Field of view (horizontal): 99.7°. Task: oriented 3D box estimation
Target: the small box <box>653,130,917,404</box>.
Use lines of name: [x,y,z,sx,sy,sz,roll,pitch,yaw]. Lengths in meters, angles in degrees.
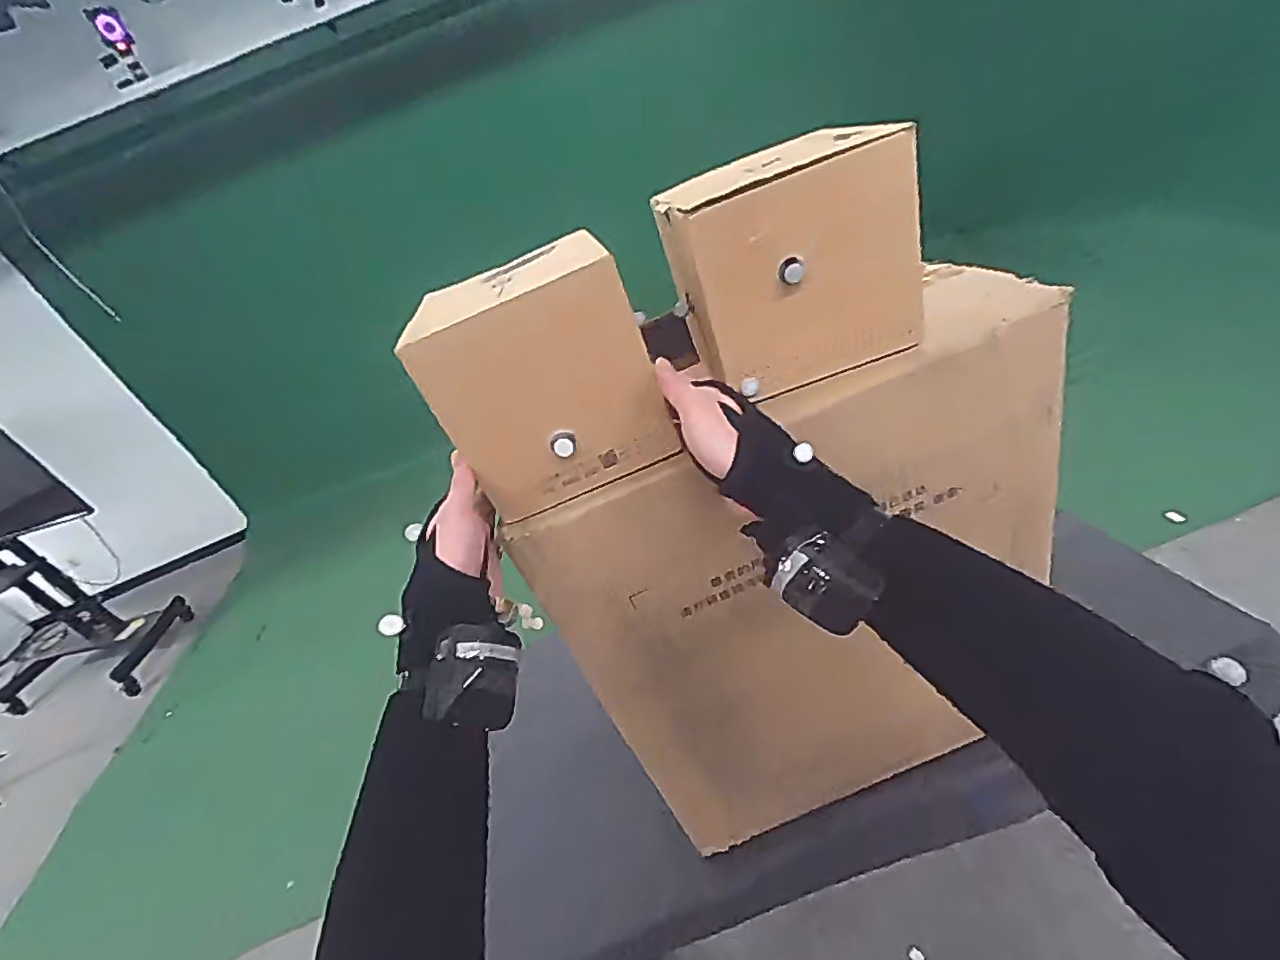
small box: [0.129,-0.193,0.499,0.179,0.176,0.168,-20,32,4]
